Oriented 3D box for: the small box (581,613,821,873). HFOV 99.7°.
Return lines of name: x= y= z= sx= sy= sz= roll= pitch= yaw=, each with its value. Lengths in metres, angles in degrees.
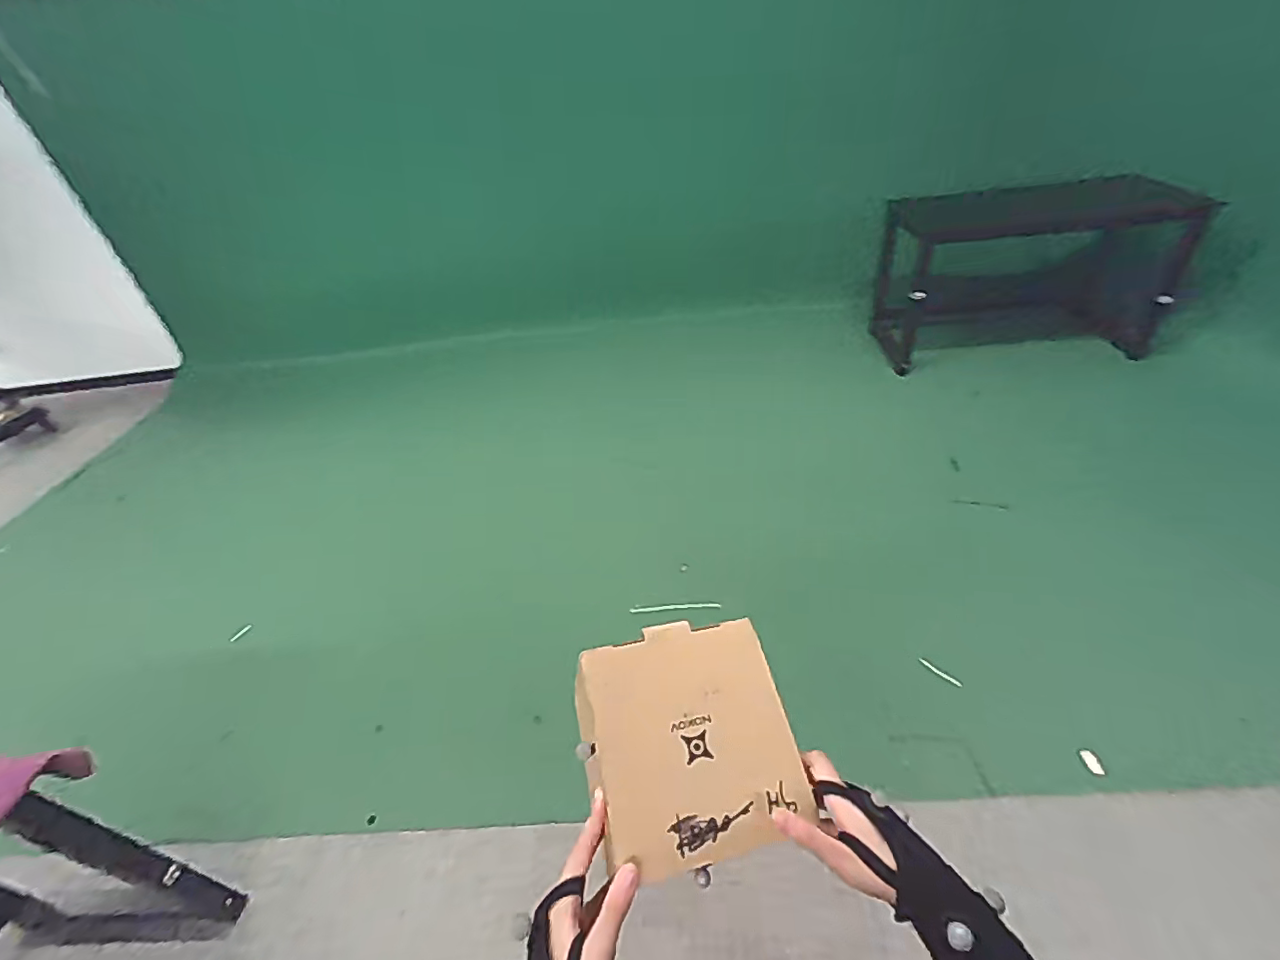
small box: x=0.038 y=0.253 z=0.523 sx=0.168 sy=0.176 sz=0.179 roll=-9 pitch=58 yaw=-13
